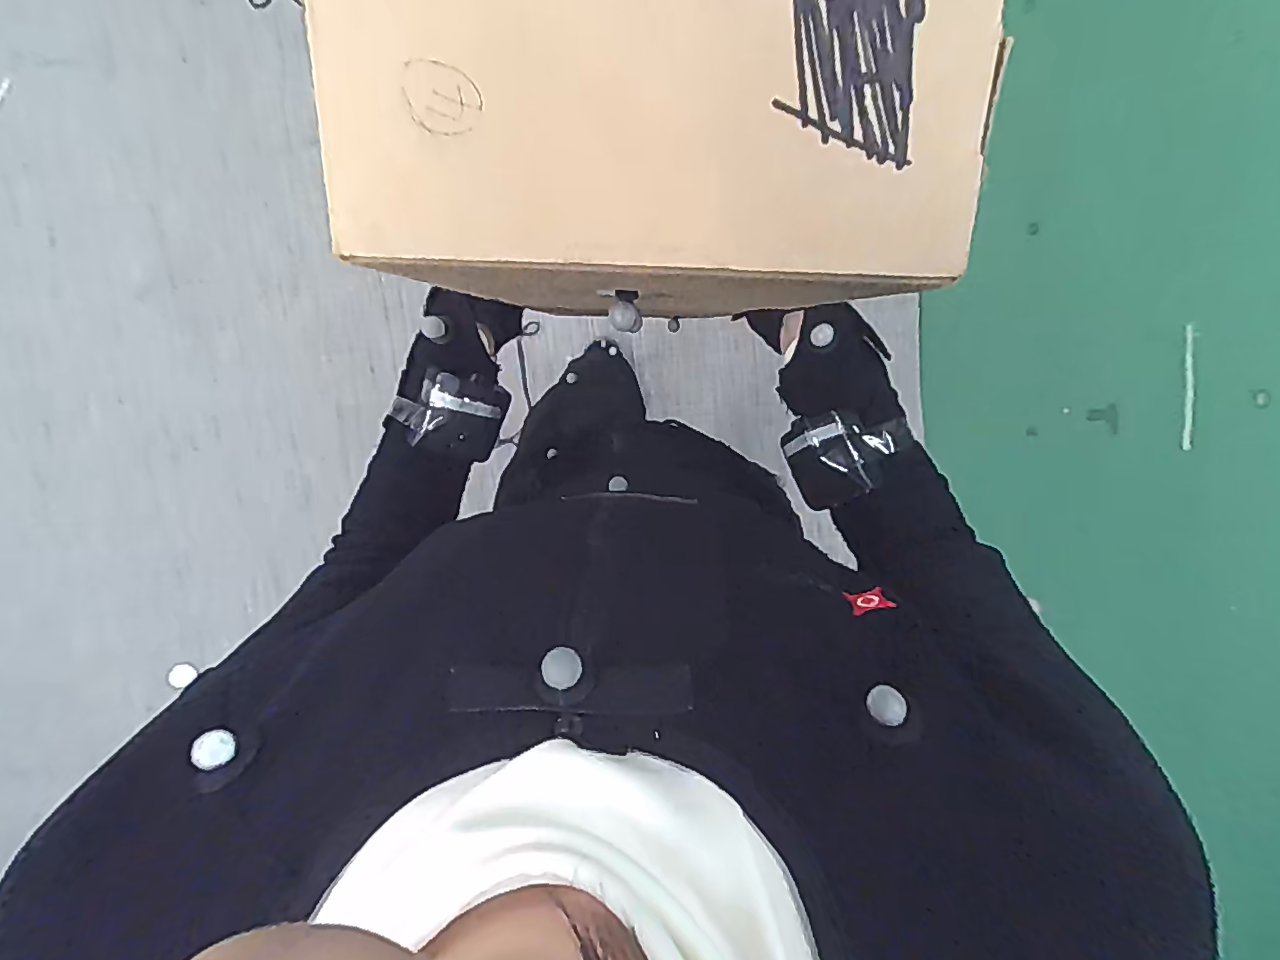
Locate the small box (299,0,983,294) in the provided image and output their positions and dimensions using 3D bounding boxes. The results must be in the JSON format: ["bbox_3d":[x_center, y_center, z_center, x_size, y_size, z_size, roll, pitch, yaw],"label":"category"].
[{"bbox_3d":[0.001,-0.165,0.206,0.179,0.176,0.168,2,105,-2],"label":"small box"}]
